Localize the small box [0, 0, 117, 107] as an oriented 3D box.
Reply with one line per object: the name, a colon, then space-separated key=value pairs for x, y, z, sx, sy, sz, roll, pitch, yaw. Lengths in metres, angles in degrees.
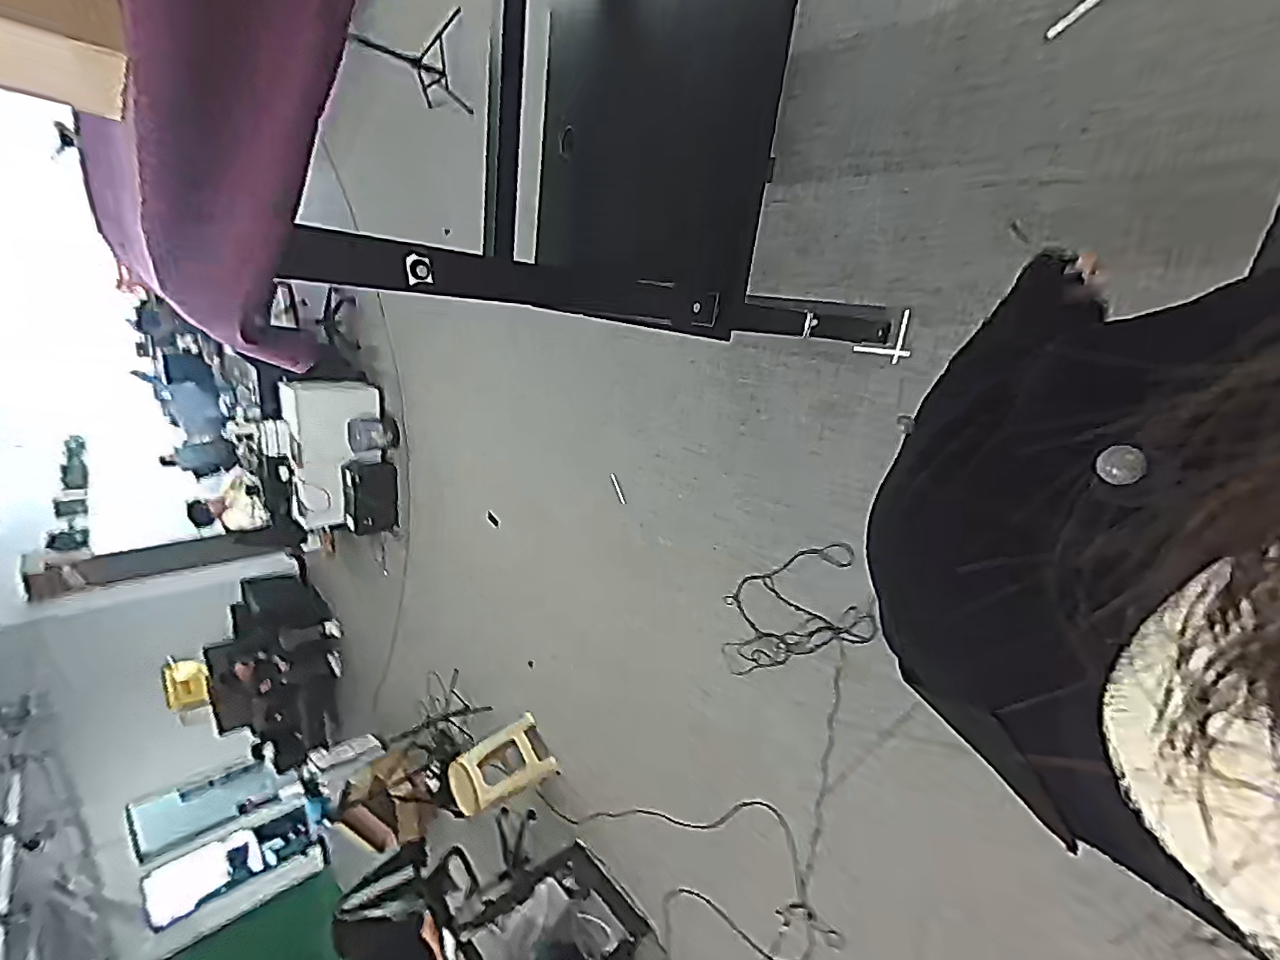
small box: x=-0.510 y=-0.410 z=0.396 sx=0.179 sy=0.176 sz=0.168 roll=14 pitch=108 yaw=45
